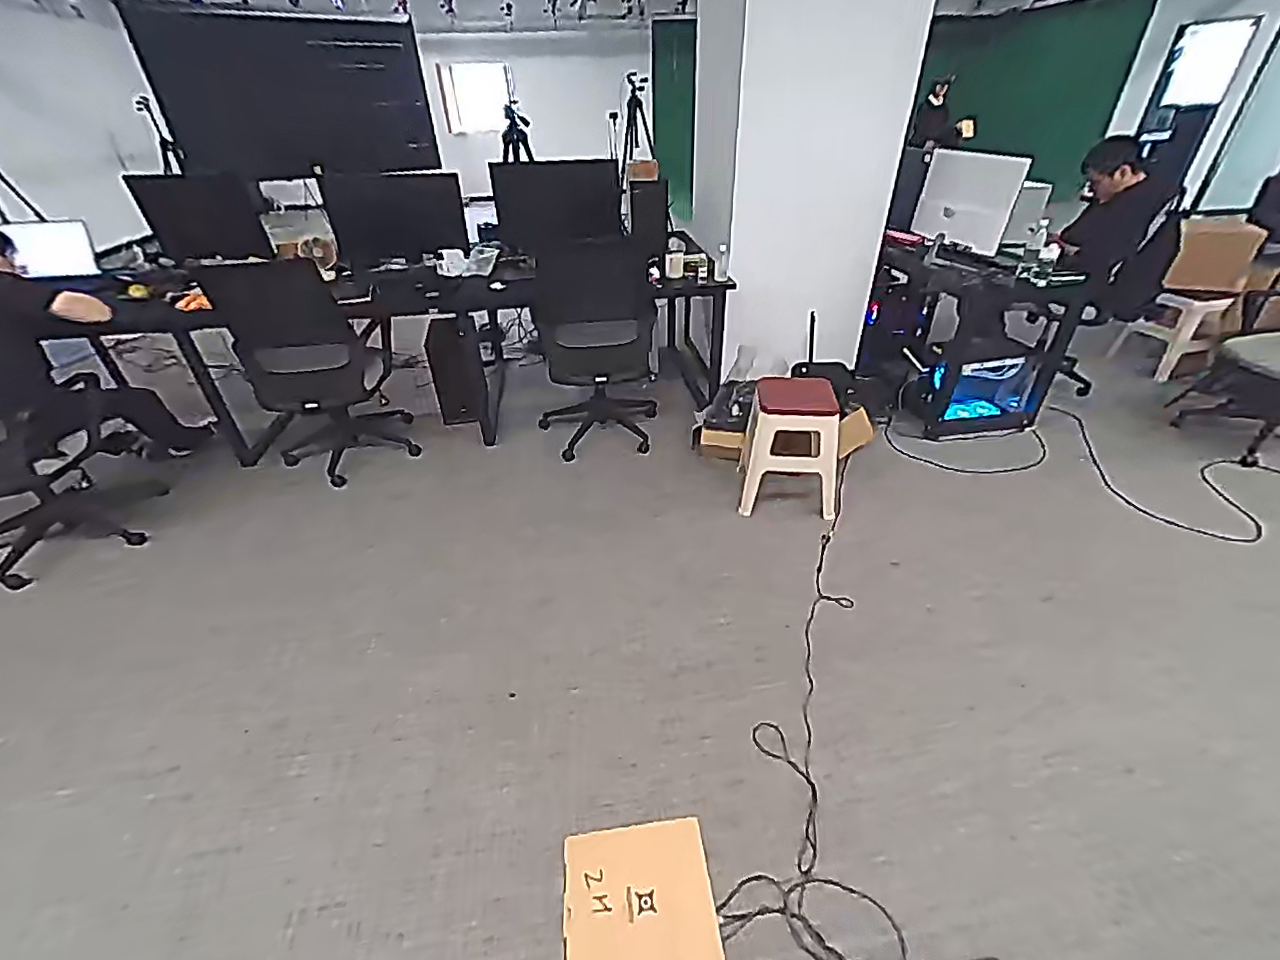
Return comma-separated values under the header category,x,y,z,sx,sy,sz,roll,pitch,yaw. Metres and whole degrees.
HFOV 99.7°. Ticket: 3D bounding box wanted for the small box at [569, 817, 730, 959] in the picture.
category,x,y,z,sx,sy,sz,roll,pitch,yaw
small box,0.008,0.556,0.674,0.179,0.176,0.168,-7,34,-3
